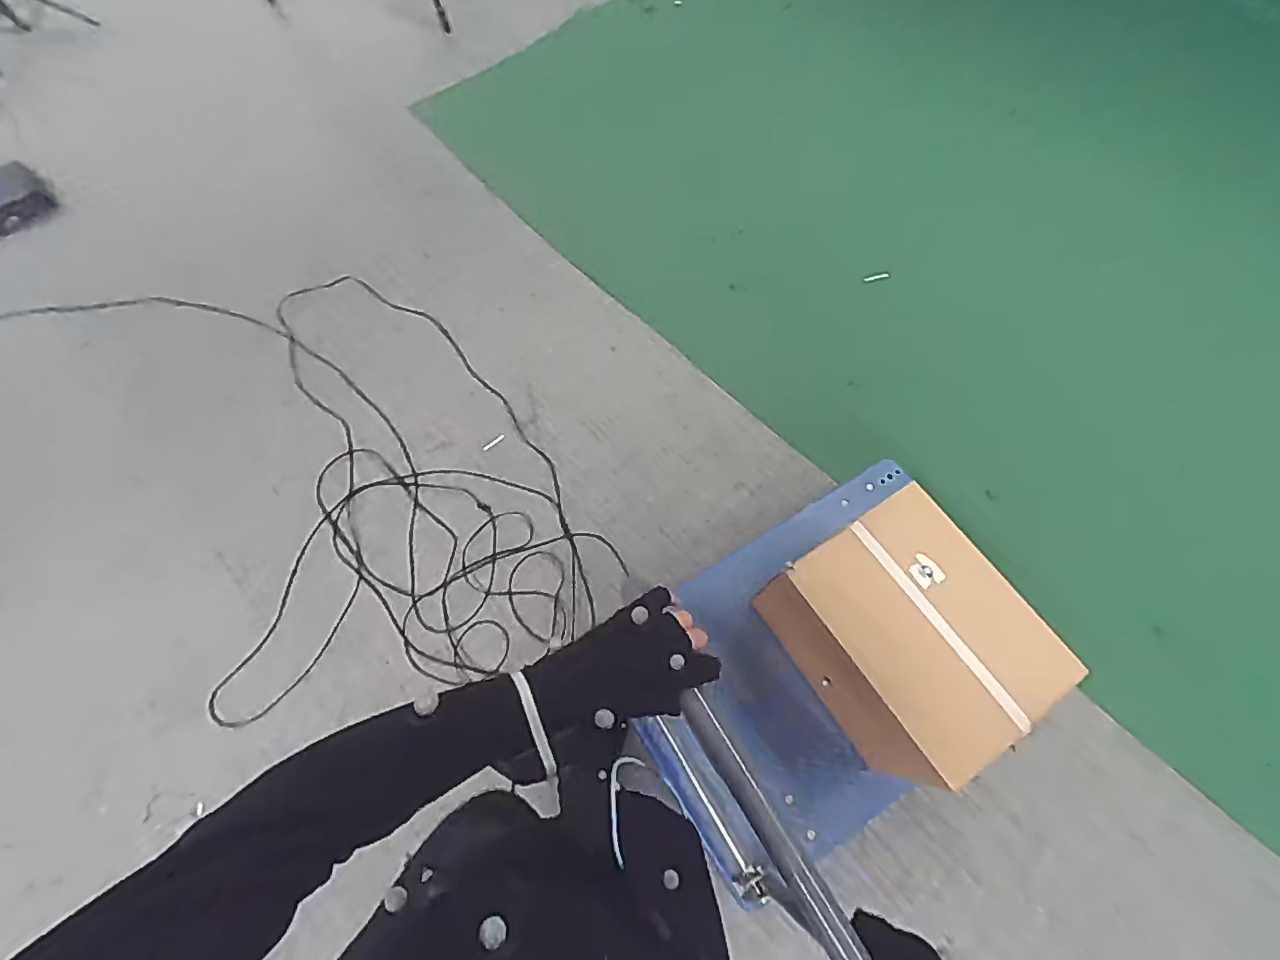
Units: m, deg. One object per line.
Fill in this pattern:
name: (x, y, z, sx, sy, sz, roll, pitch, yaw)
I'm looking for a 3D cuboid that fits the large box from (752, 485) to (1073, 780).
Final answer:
large box: (0.481, 0.292, 1.056, 0.320, 0.320, 0.408, -31, 71, -13)
